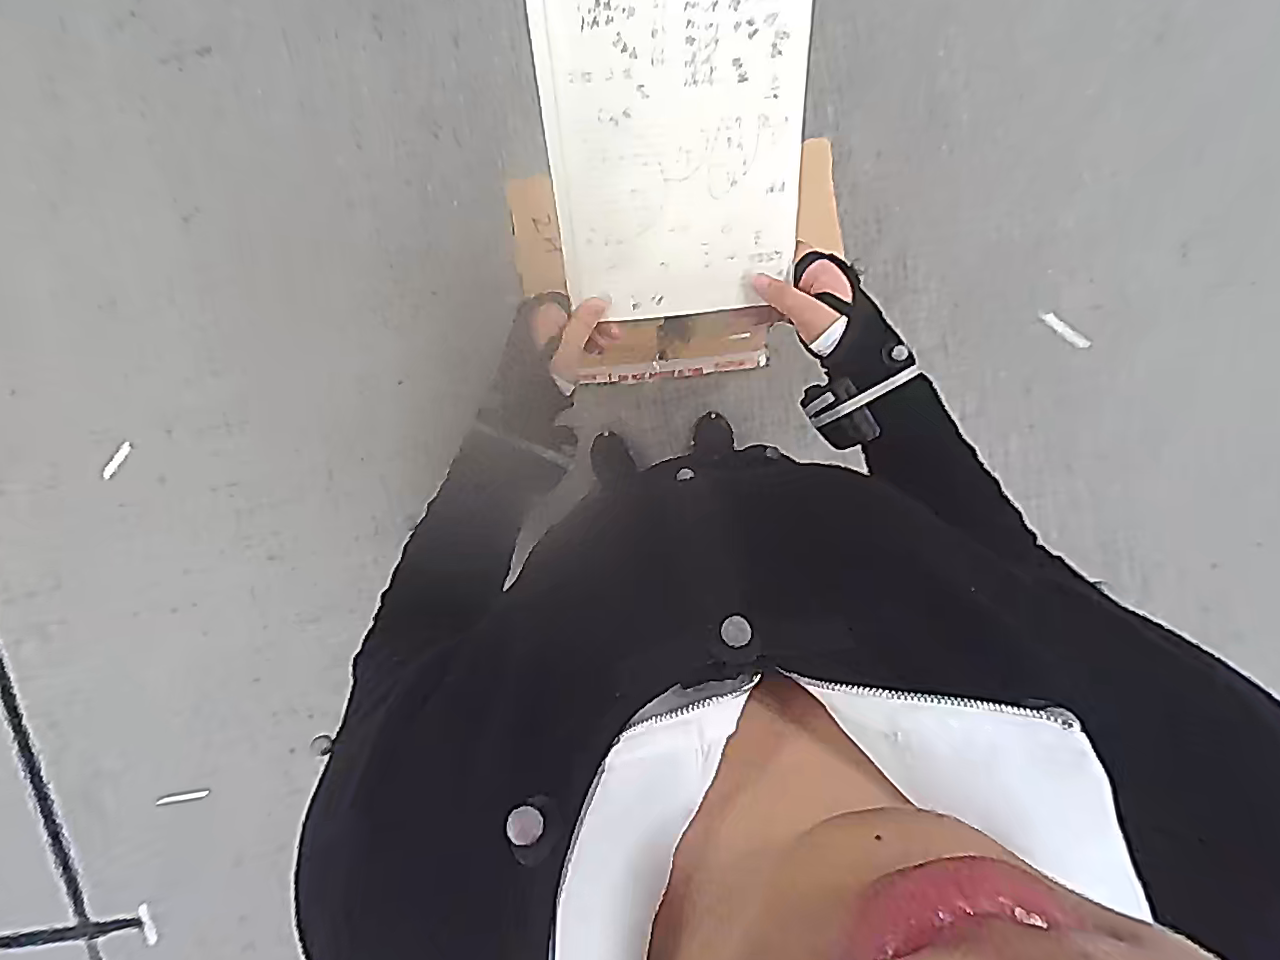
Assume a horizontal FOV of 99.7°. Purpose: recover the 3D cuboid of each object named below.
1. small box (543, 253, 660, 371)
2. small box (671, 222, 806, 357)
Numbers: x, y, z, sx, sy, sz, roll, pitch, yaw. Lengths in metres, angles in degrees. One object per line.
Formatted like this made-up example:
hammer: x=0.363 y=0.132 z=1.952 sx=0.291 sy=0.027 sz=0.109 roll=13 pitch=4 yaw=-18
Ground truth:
small box: x=-0.057 y=-0.274 z=0.912 sx=0.179 sy=0.176 sz=0.168 roll=-2 pitch=98 yaw=2
small box: x=0.157 y=-0.308 z=0.907 sx=0.179 sy=0.176 sz=0.168 roll=-11 pitch=97 yaw=0
